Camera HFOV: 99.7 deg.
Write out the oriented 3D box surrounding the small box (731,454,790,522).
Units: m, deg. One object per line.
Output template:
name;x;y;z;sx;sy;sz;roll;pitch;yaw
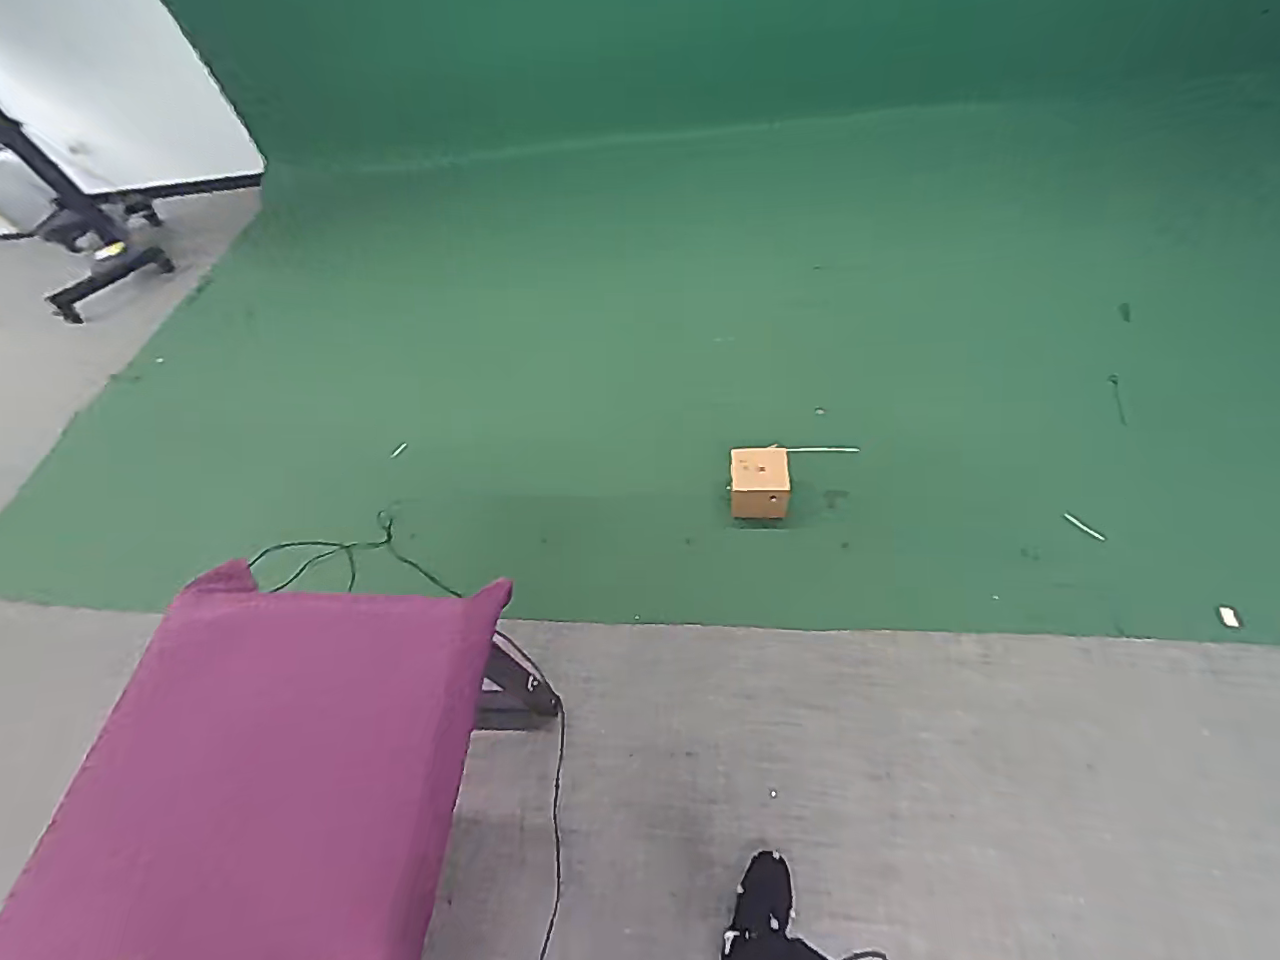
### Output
small box;0.390;0.029;1.771;0.179;0.176;0.168;-1;55;9
